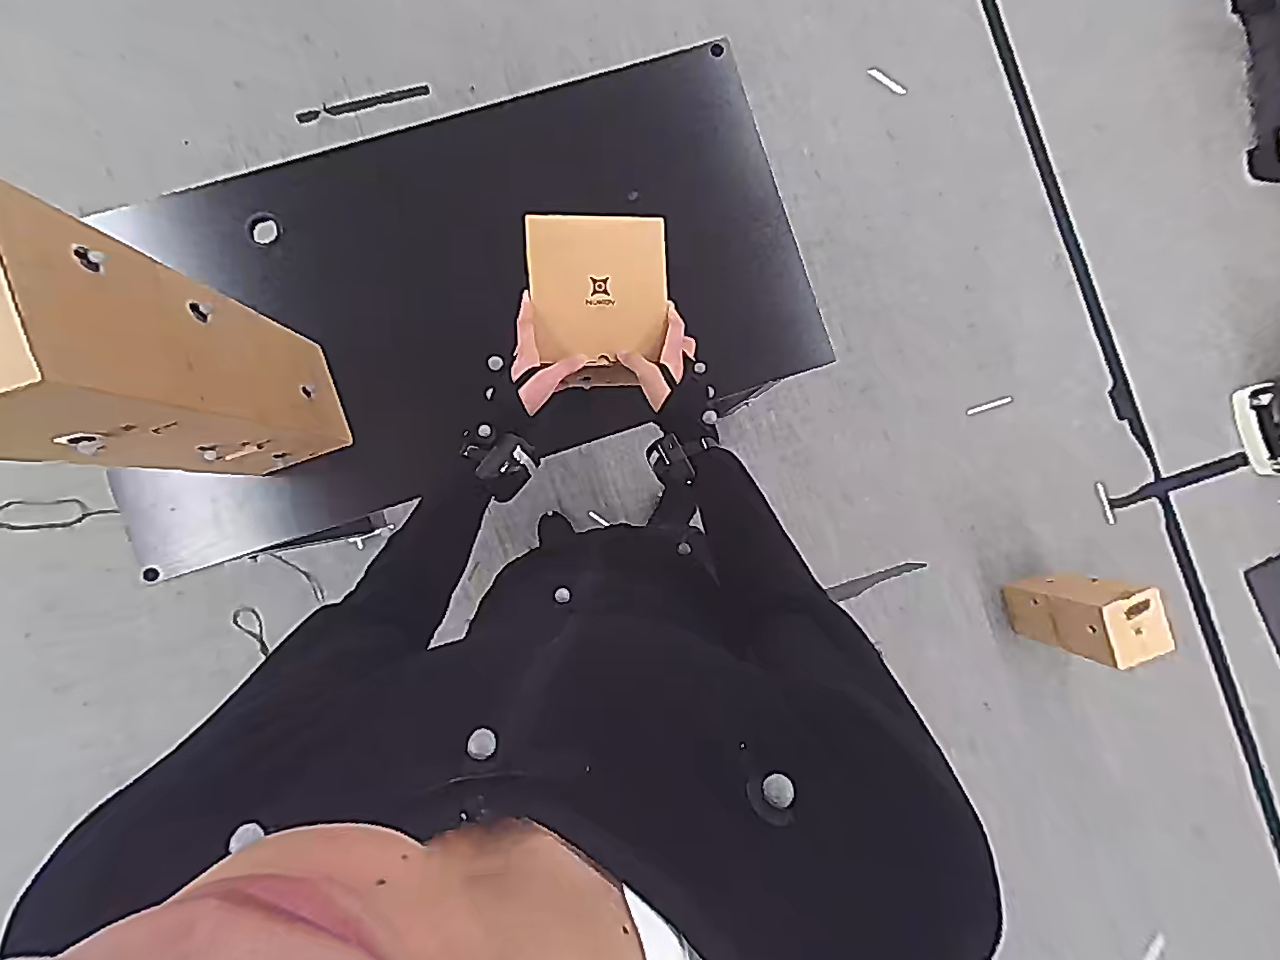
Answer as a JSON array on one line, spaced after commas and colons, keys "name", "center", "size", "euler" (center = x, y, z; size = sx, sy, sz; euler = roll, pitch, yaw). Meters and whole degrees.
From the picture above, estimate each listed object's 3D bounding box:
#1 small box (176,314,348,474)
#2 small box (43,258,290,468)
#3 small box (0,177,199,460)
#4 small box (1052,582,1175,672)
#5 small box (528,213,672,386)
[{"name": "small box", "center": [-0.569, -0.116, 0.799], "size": [0.168, 0.176, 0.179], "euler": [-20, 90, -4]}, {"name": "small box", "center": [-0.559, -0.123, 0.634], "size": [0.168, 0.176, 0.179], "euler": [-19, 90, -3]}, {"name": "small box", "center": [-0.548, -0.127, 0.472], "size": [0.168, 0.176, 0.179], "euler": [-20, 90, -3]}, {"name": "small box", "center": [1.266, 0.385, 1.460], "size": [0.168, 0.176, 0.179], "euler": [-18, 91, -4]}, {"name": "small box", "center": [-0.060, -0.223, 0.709], "size": [0.168, 0.176, 0.179], "euler": [-4, 93, -10]}]
